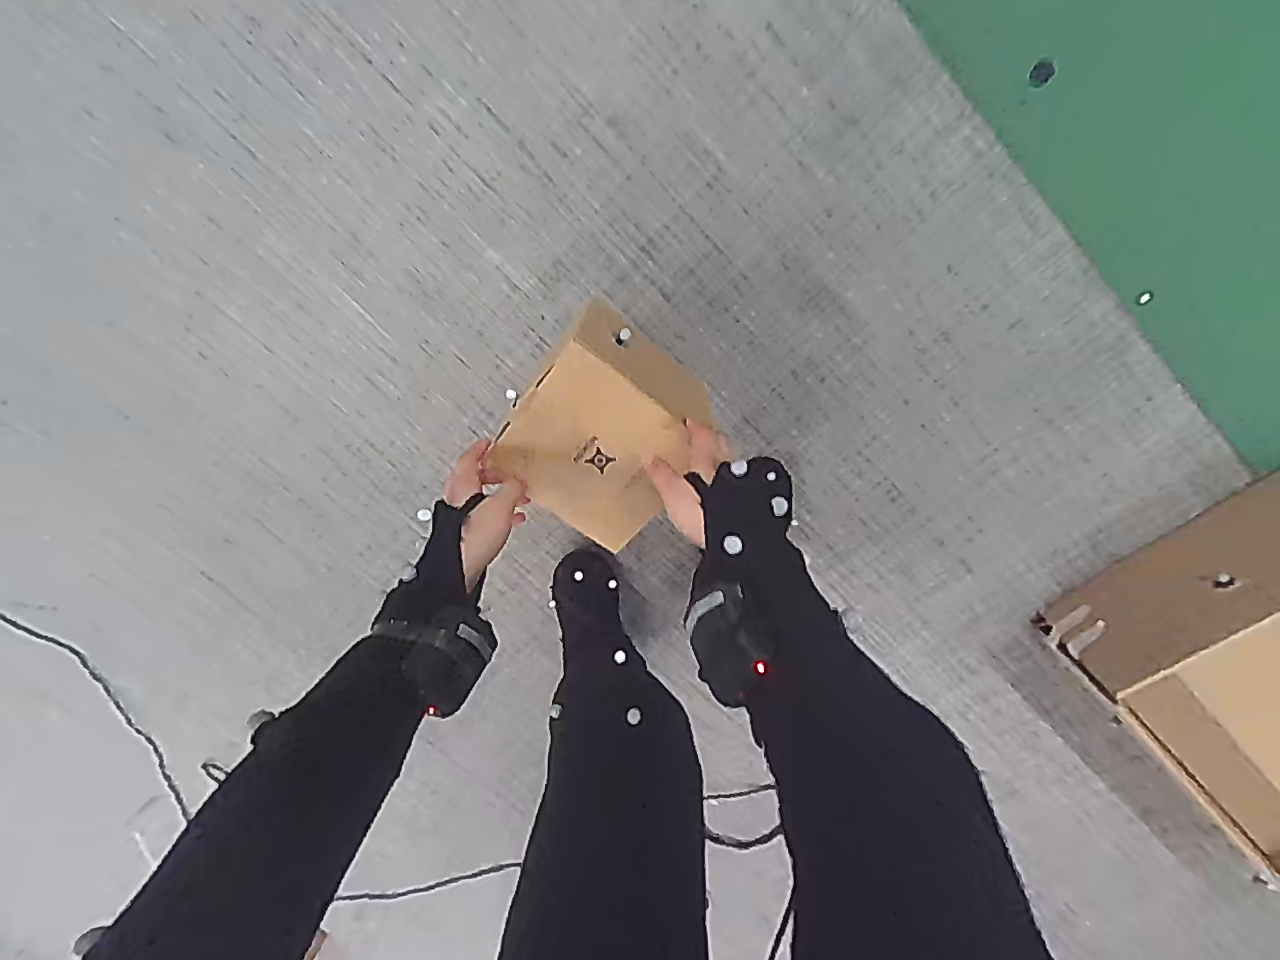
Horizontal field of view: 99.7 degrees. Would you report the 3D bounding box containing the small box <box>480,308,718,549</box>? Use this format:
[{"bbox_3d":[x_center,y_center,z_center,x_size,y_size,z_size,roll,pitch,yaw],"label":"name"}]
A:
[{"bbox_3d":[-0.040,-0.065,0.591,0.179,0.176,0.168,34,117,-19],"label":"small box"}]
